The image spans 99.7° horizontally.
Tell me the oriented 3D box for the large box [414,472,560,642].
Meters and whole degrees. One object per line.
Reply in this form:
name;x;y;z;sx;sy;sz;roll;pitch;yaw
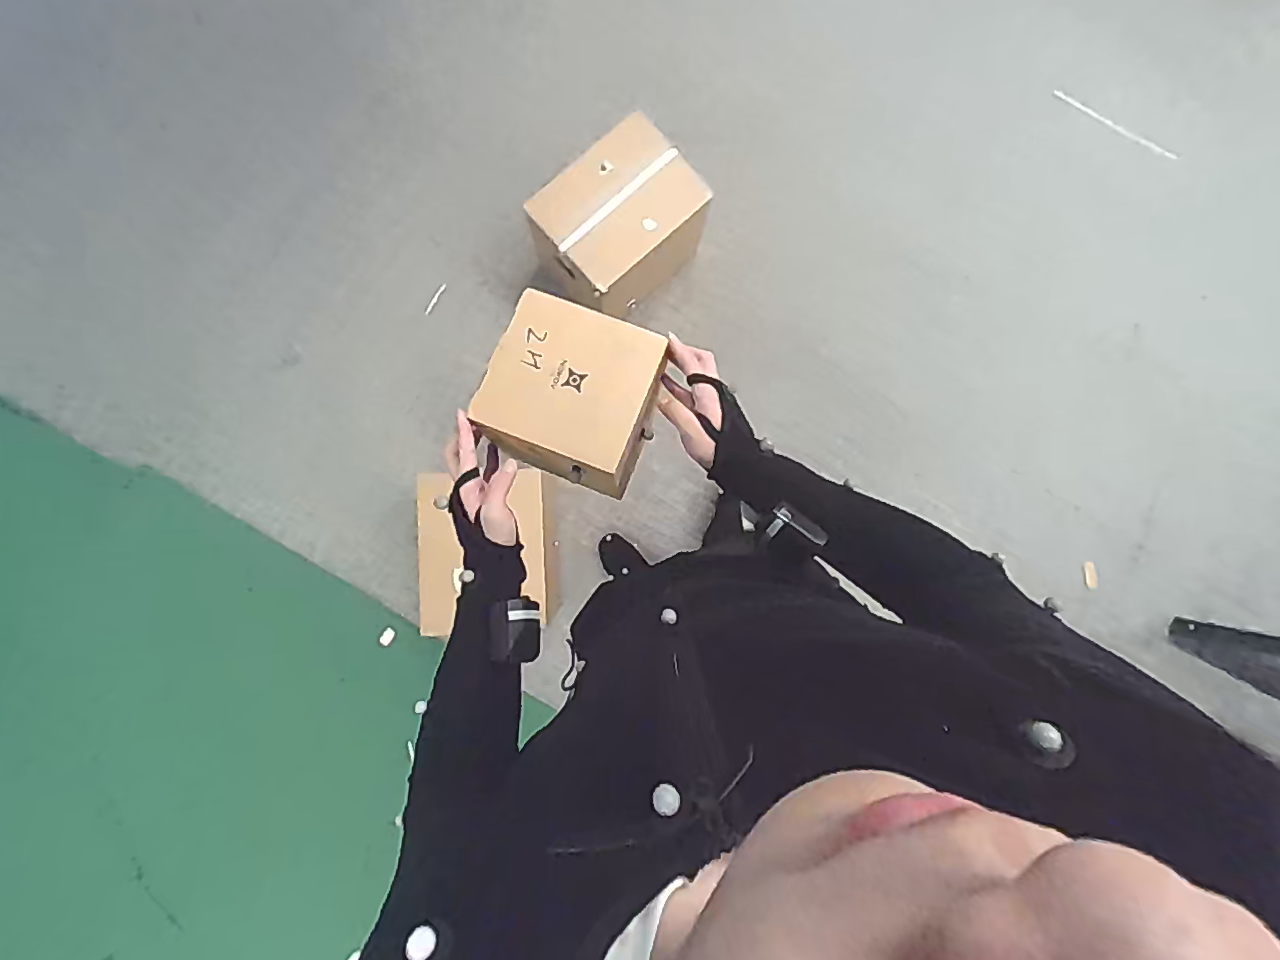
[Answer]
large box;-0.397;0.195;1.476;0.320;0.320;0.408;-3;87;-1
